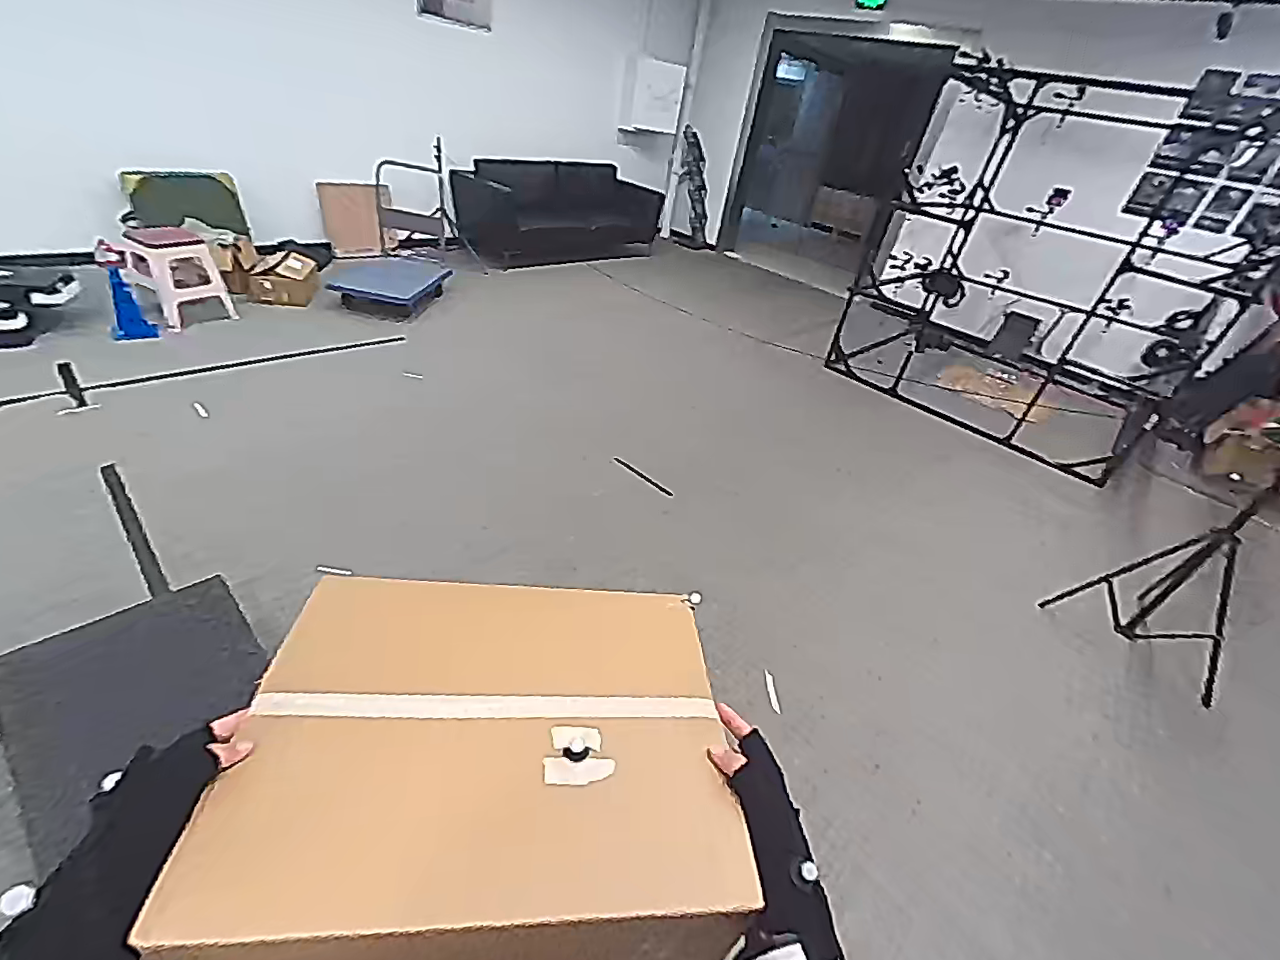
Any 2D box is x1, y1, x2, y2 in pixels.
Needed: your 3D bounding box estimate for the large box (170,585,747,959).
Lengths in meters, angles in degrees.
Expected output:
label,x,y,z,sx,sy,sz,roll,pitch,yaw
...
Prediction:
label,x,y,z,sx,sy,sz,roll,pitch,yaw
large box,-0.153,0.337,0.580,0.408,0.320,0.320,5,33,-11
